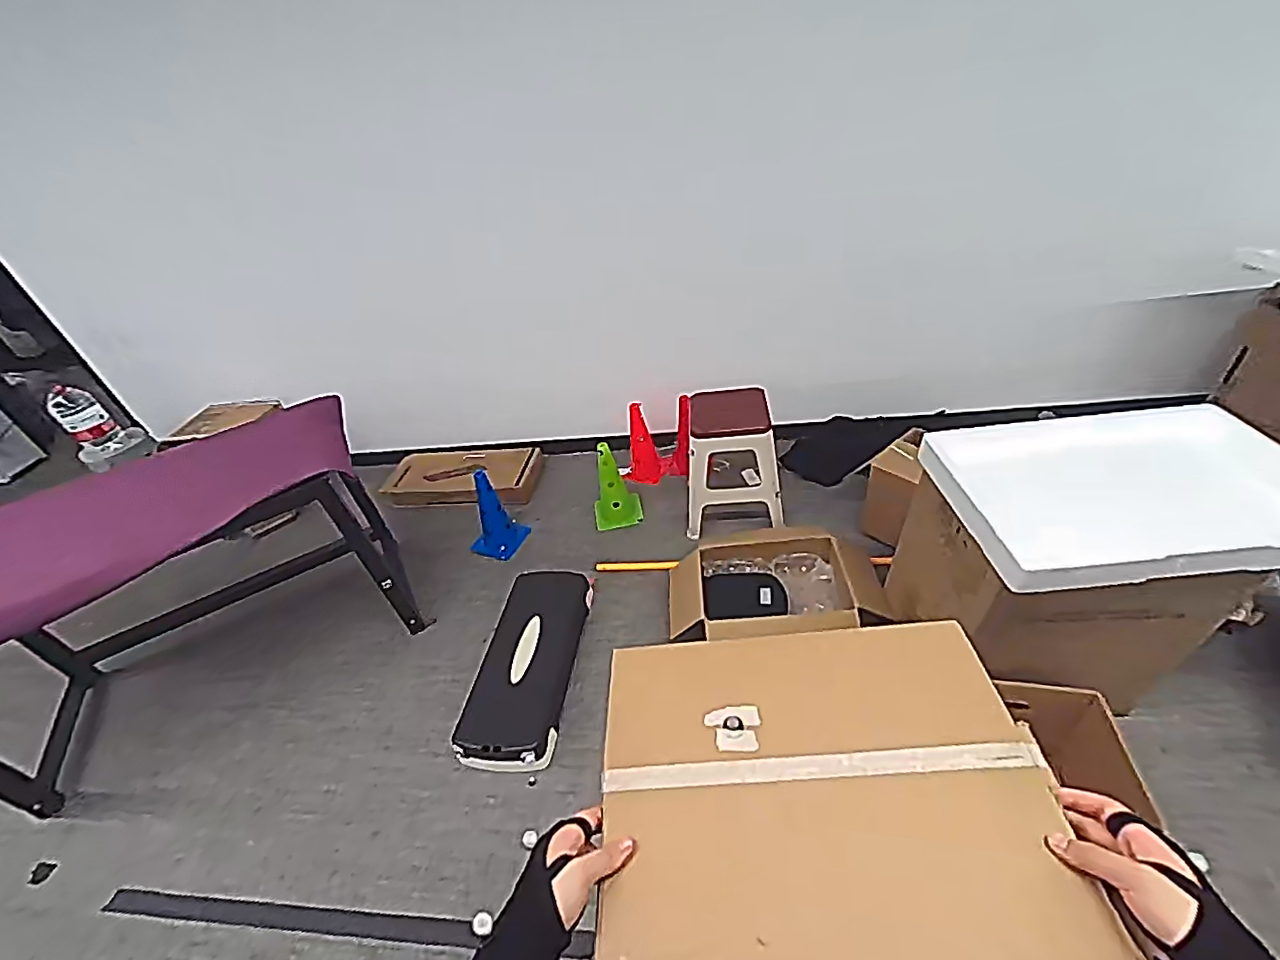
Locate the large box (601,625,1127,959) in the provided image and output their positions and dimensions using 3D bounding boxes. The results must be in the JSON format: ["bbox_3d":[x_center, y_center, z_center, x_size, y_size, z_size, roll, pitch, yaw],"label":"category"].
[{"bbox_3d":[0.192,0.405,0.619,0.408,0.320,0.320,-8,36,7],"label":"large box"}]
